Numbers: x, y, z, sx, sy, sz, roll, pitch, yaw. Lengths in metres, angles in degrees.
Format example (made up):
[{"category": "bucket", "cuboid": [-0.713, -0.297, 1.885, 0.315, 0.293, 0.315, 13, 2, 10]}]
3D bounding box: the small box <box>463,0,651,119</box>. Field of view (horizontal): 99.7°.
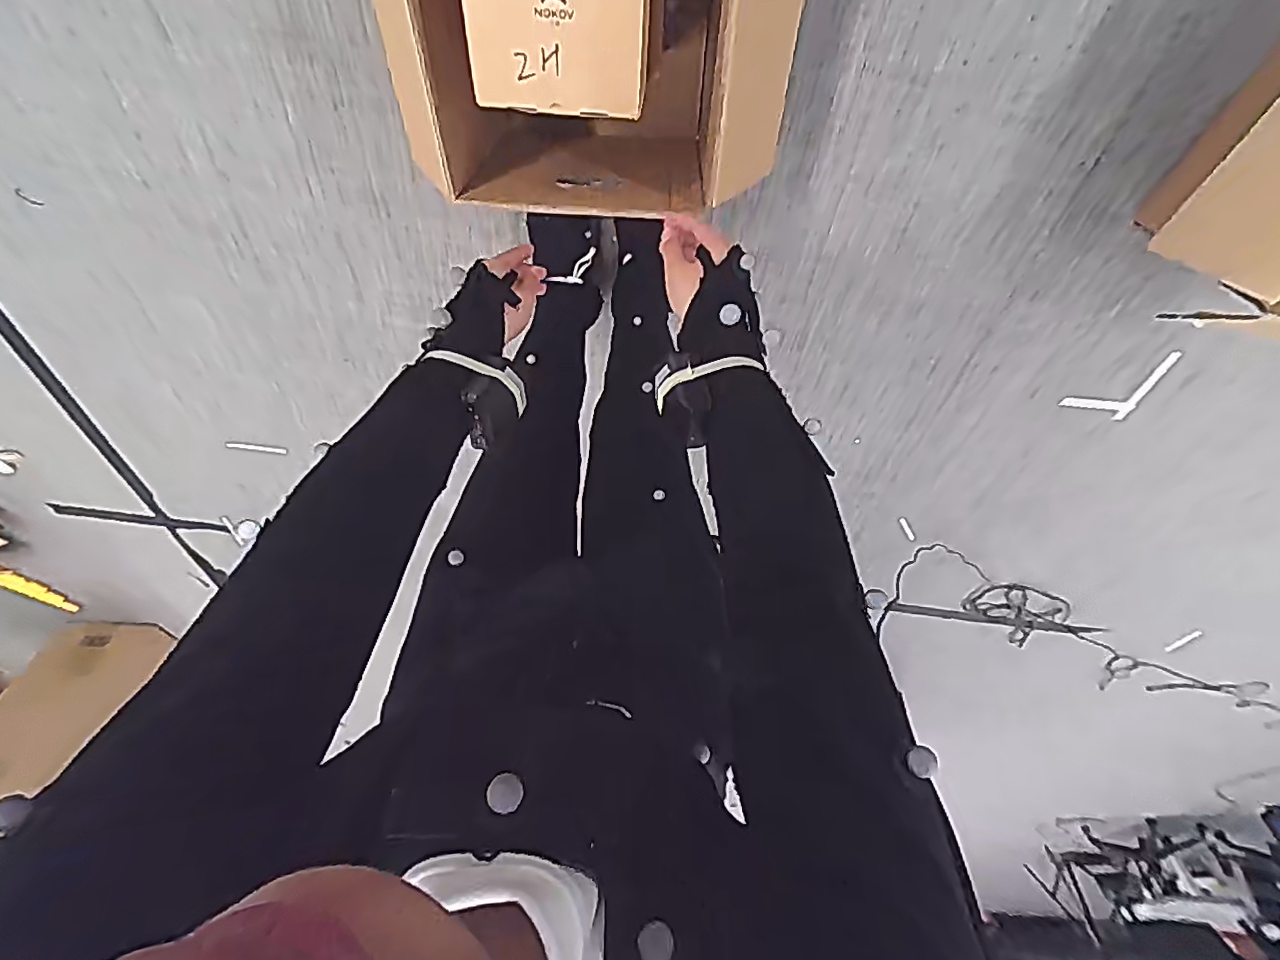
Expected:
[{"category": "small box", "cuboid": [-0.074, -0.487, 0.537, 0.168, 0.176, 0.179, 5, 137, 0]}]
